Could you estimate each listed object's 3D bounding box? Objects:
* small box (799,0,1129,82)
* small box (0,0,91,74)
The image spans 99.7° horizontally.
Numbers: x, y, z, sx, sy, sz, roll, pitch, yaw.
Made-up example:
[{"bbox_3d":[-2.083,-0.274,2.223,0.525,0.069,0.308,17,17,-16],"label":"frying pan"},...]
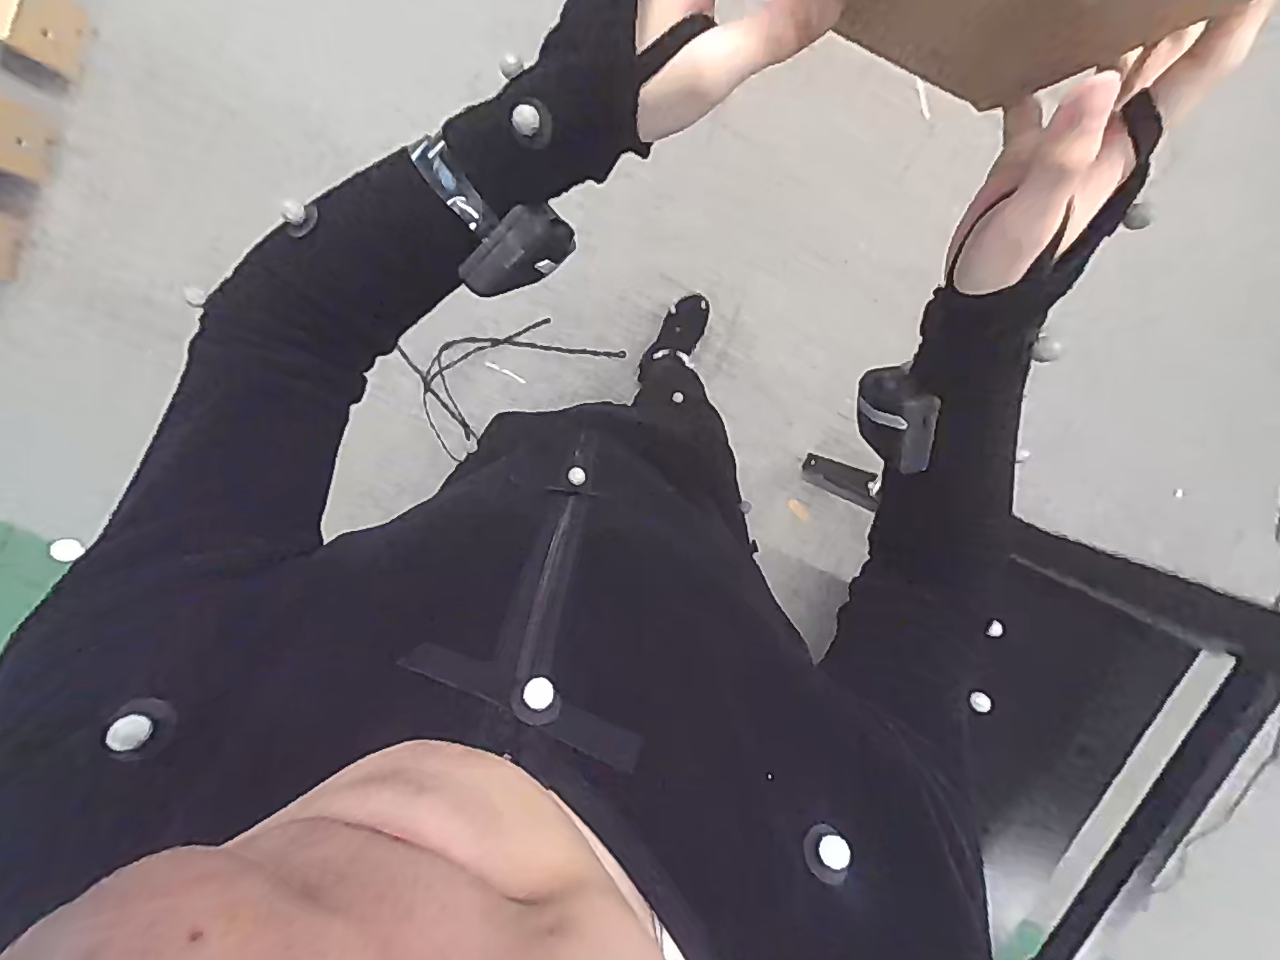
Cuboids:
[{"bbox_3d":[0.159,-0.301,0.213,0.179,0.176,0.168,18,108,-10],"label":"small box"},{"bbox_3d":[-1.434,-1.081,1.235,0.179,0.176,0.168,26,97,-8],"label":"small box"}]
